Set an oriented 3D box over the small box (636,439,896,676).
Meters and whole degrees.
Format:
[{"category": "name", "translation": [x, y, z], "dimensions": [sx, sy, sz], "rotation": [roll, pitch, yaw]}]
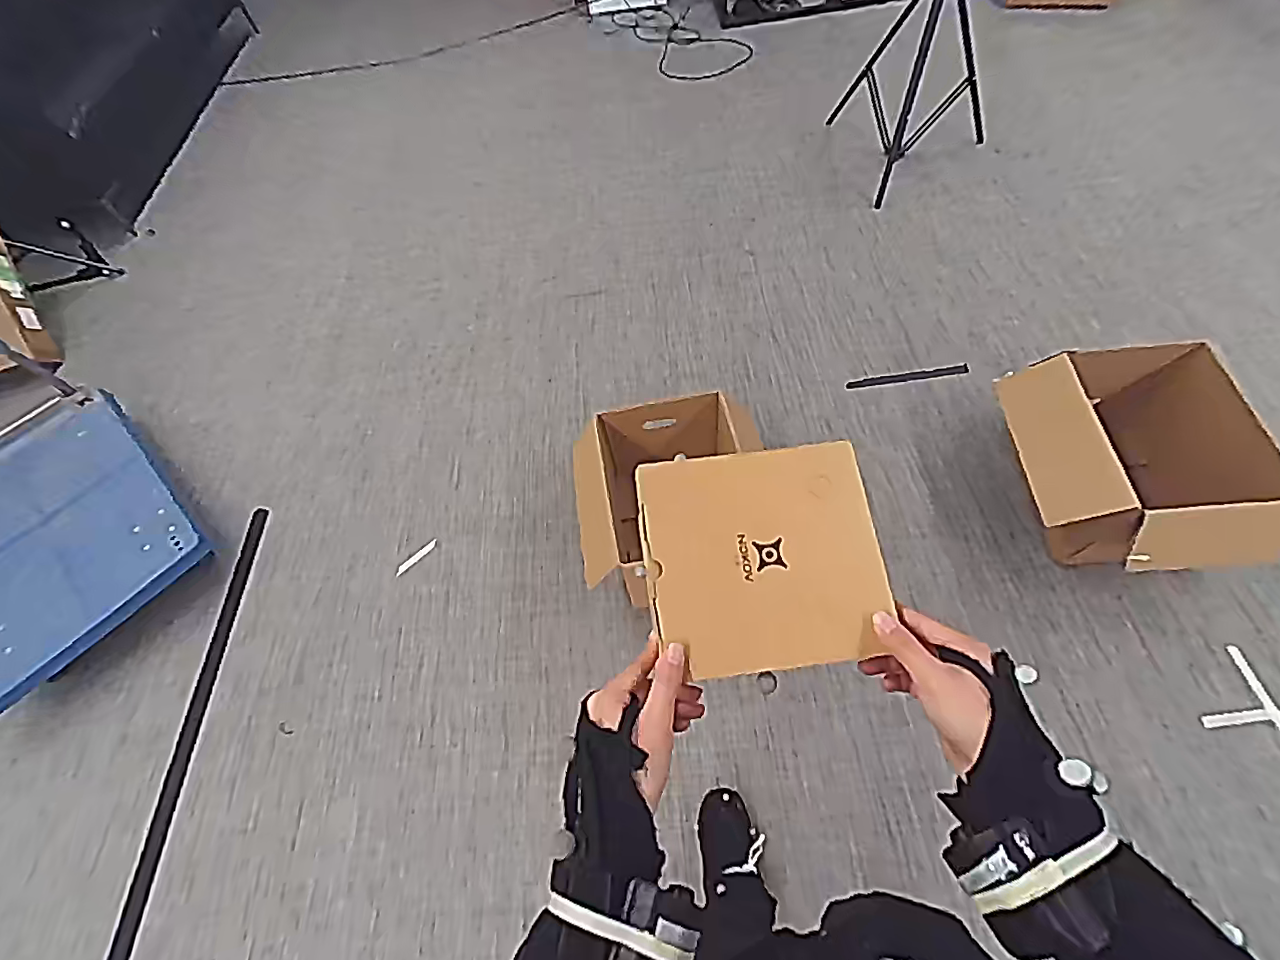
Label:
[{"category": "small box", "translation": [0.093, 0.076, 0.487], "dimensions": [0.179, 0.176, 0.168], "rotation": [-8, 73, 0]}]
